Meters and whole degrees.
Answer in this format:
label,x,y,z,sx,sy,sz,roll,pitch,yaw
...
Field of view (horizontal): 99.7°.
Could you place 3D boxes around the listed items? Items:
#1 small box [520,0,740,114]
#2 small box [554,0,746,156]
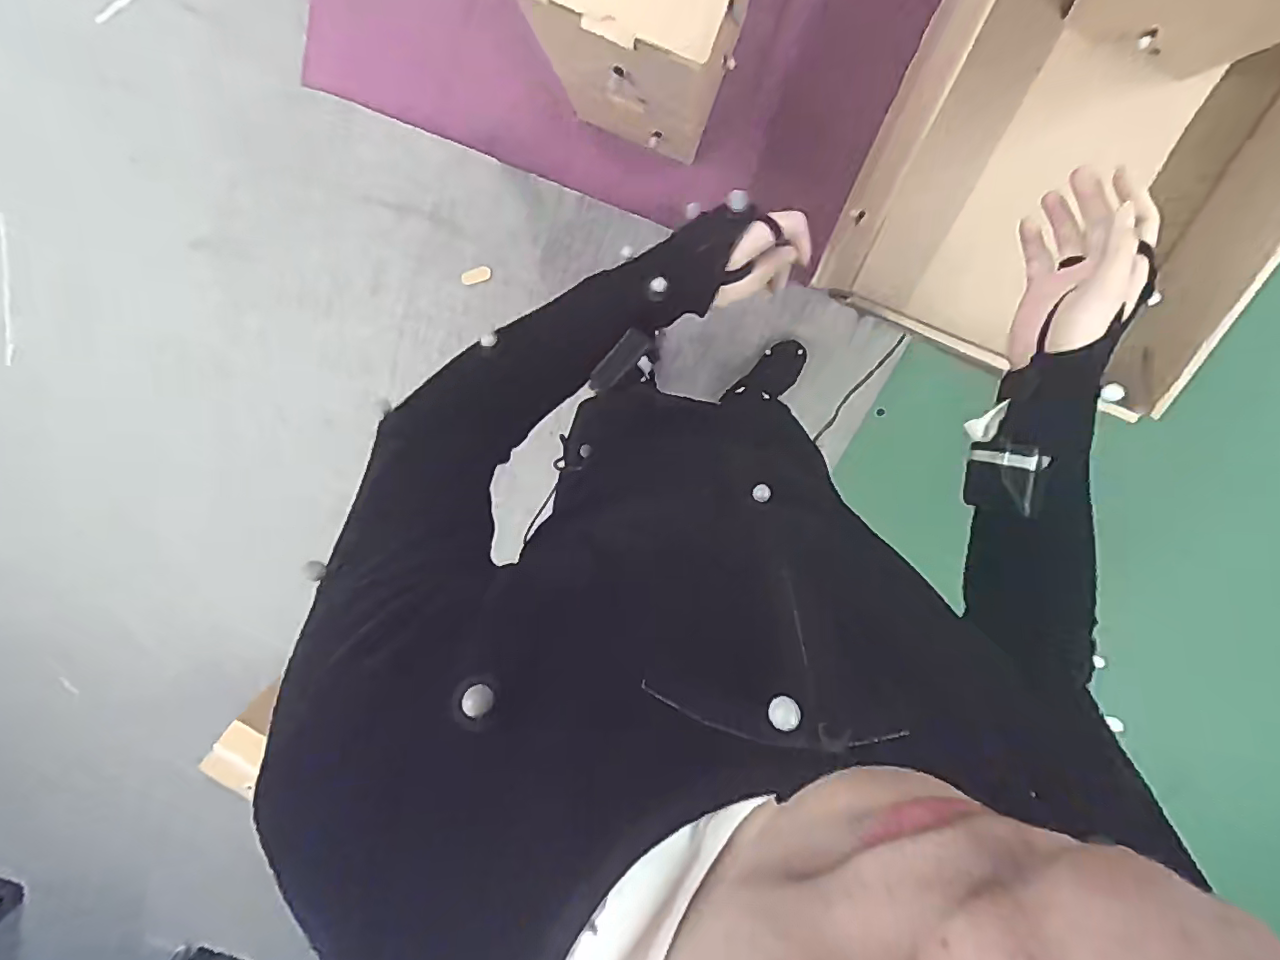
label,x,y,z,sx,sy,sz,roll,pitch,yaw
small box,0.010,-0.459,0.469,0.168,0.176,0.179,21,110,-4
small box,0.019,-0.510,0.625,0.168,0.176,0.179,22,108,-4
